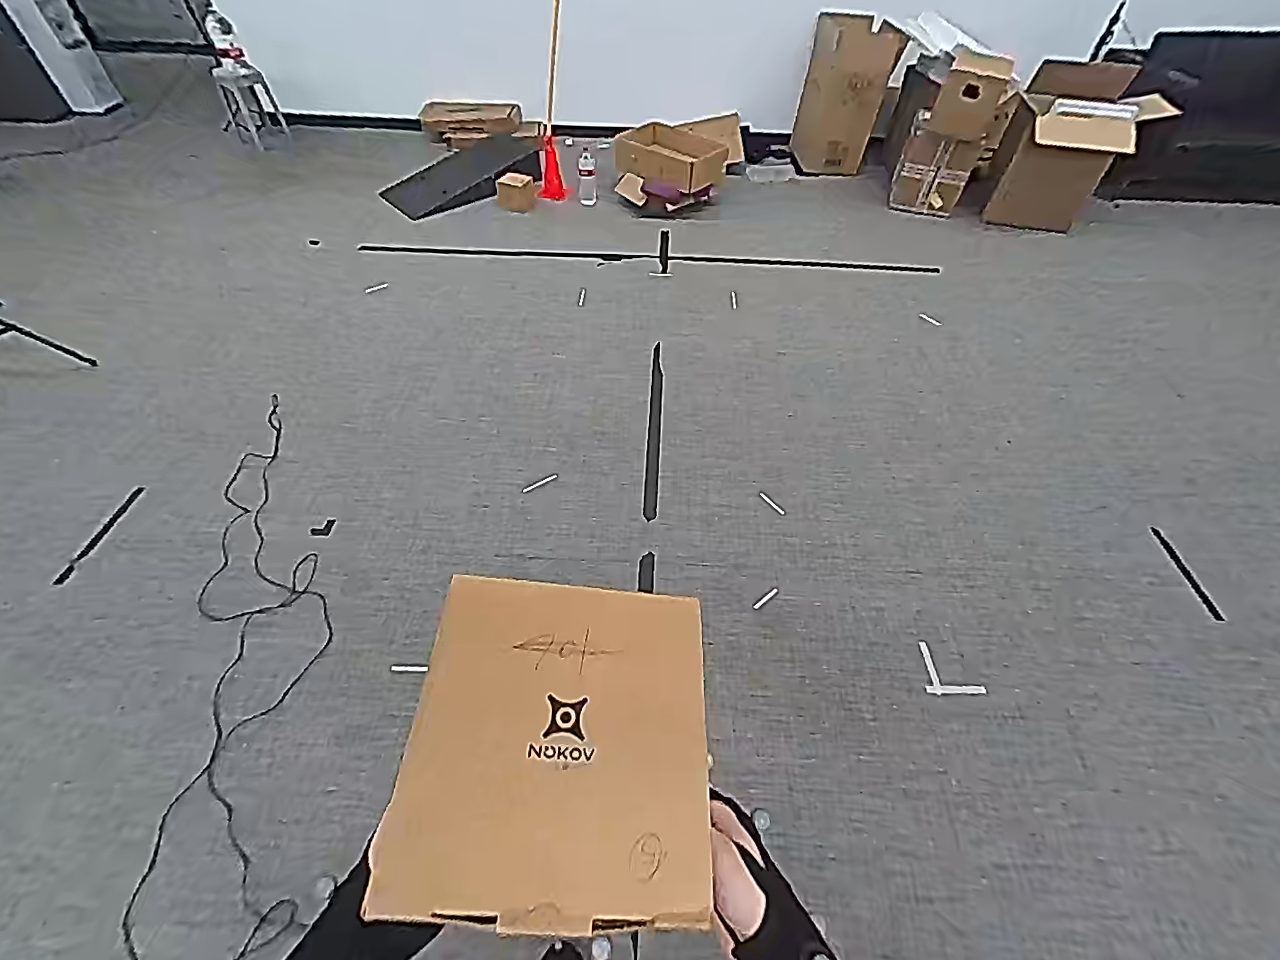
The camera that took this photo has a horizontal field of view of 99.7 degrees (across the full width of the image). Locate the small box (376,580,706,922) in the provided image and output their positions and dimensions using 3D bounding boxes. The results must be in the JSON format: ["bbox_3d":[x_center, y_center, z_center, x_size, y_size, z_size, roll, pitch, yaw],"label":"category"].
[{"bbox_3d":[-0.057,0.193,0.377,0.168,0.176,0.179,7,49,-7],"label":"small box"}]
